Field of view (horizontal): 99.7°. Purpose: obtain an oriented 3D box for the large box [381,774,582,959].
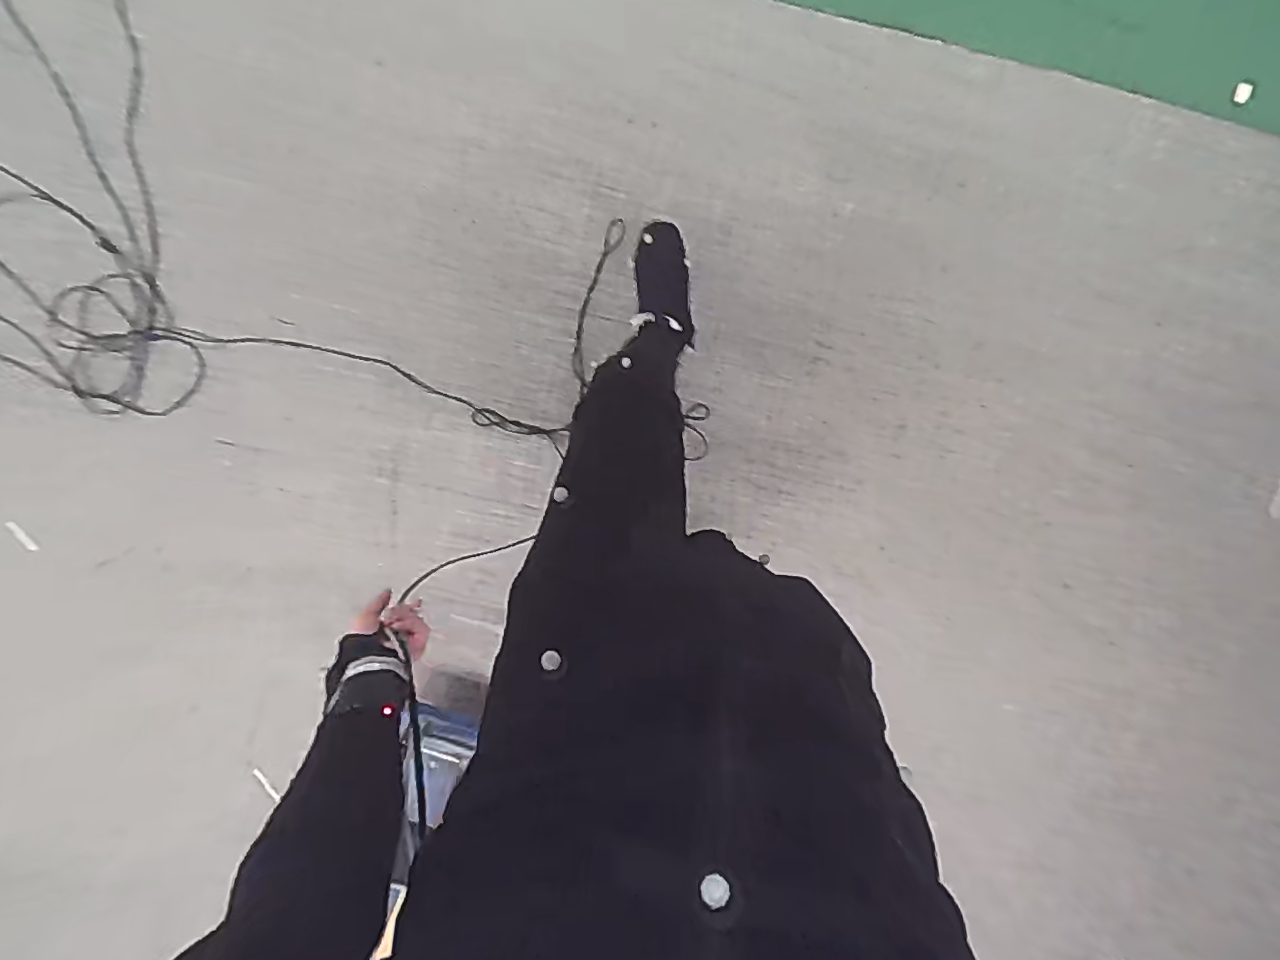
[{"bbox_3d":[-0.334,0.920,1.127,0.320,0.320,0.408,21,94,-3],"label":"large box"}]
